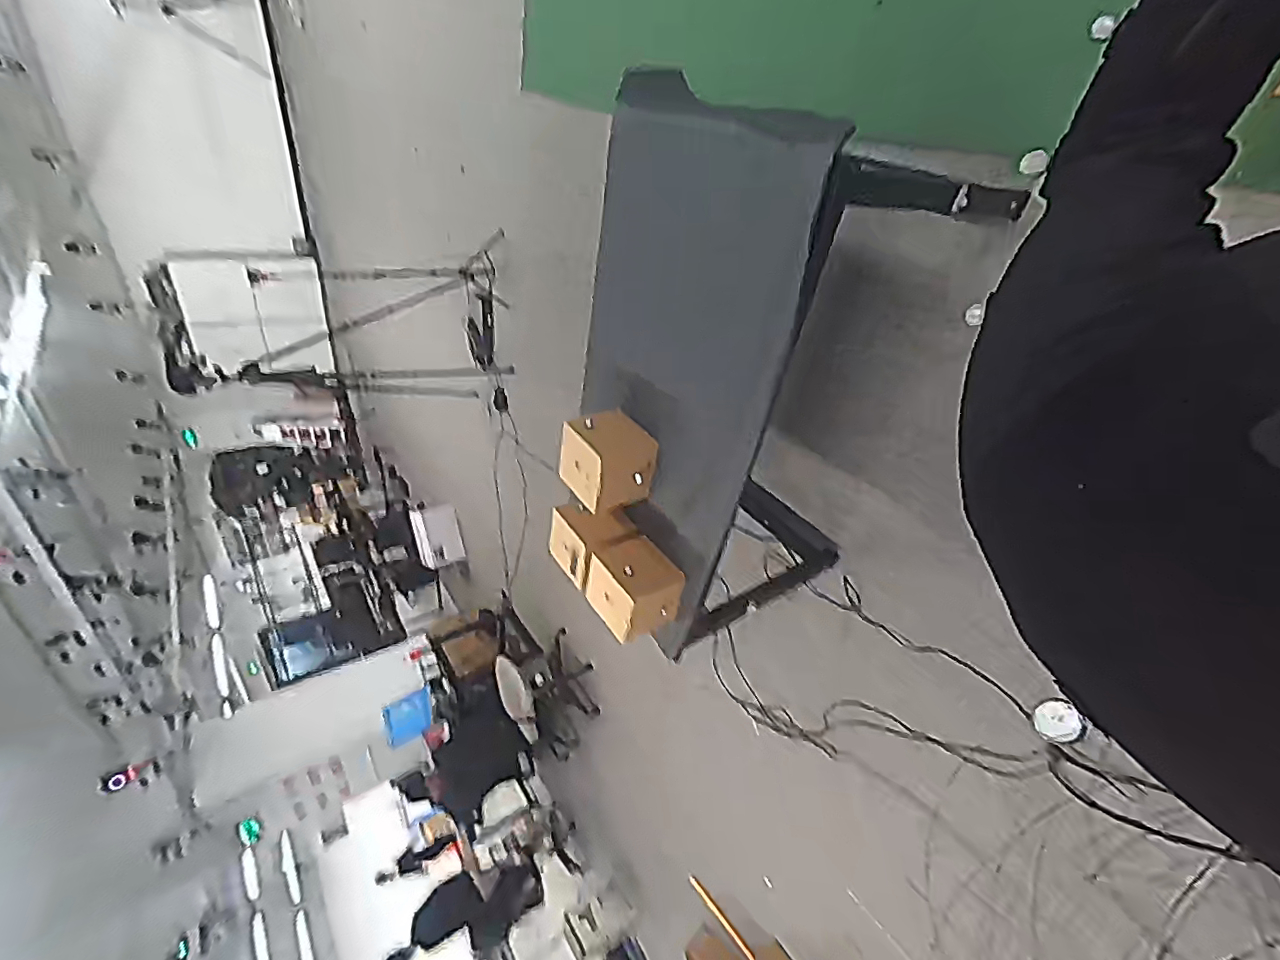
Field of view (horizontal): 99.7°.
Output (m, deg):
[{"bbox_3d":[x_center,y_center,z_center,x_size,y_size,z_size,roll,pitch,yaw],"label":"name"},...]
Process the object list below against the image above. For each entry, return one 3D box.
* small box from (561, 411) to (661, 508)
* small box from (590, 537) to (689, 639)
[{"bbox_3d":[-0.075,-0.060,1.346,0.179,0.176,0.168,43,136,36],"label":"small box"},{"bbox_3d":[-0.005,0.265,1.384,0.179,0.176,0.168,43,136,36],"label":"small box"}]
